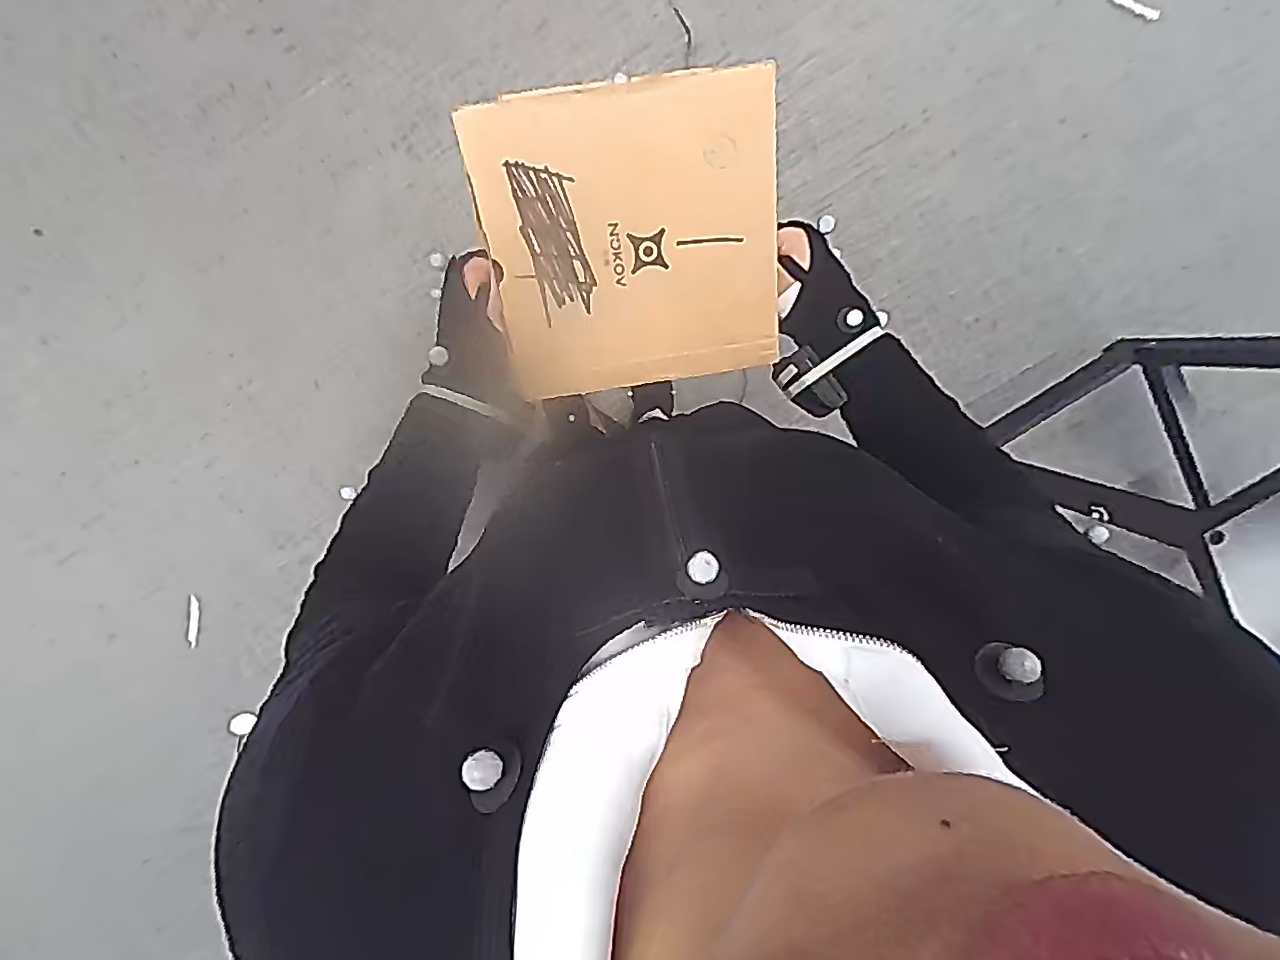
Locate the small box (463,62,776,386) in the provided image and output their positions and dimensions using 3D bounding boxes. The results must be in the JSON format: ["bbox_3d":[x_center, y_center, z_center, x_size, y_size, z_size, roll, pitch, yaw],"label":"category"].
[{"bbox_3d":[-0.007,-0.182,0.402,0.179,0.176,0.168,-8,118,0],"label":"small box"}]
